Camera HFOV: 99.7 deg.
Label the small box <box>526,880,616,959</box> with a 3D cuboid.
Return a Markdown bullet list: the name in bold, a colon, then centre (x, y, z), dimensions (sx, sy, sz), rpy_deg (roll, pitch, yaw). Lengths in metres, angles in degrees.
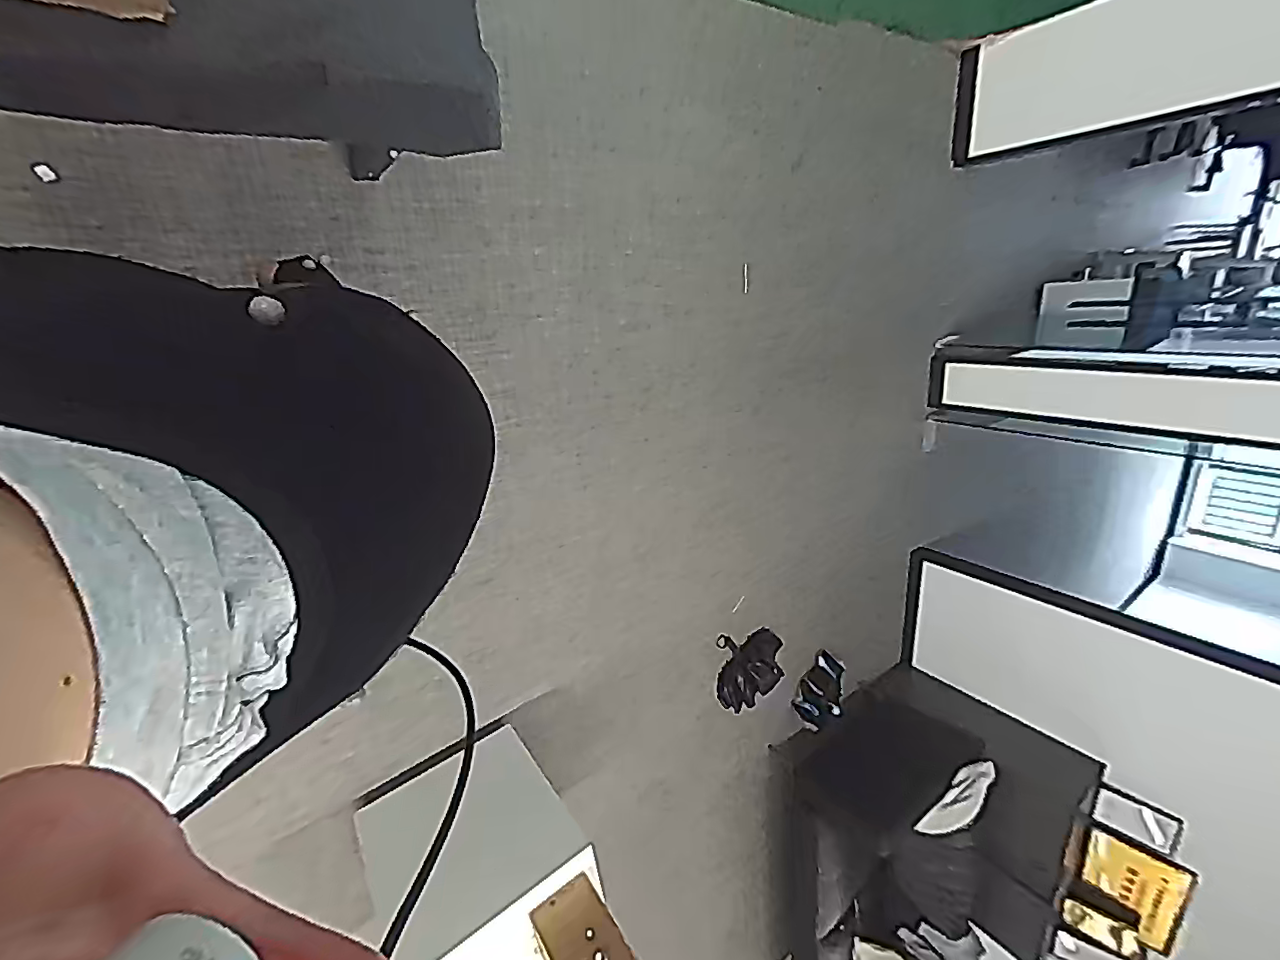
- **small box**: centre (-0.166, 1.163, 1.351), dimensions (0.168, 0.176, 0.179), rpy_deg (-21, 116, -30)

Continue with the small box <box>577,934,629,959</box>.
- **small box**: centre (-0.074, 1.196, 1.221), dimensions (0.168, 0.176, 0.179), rpy_deg (-23, 115, -30)
